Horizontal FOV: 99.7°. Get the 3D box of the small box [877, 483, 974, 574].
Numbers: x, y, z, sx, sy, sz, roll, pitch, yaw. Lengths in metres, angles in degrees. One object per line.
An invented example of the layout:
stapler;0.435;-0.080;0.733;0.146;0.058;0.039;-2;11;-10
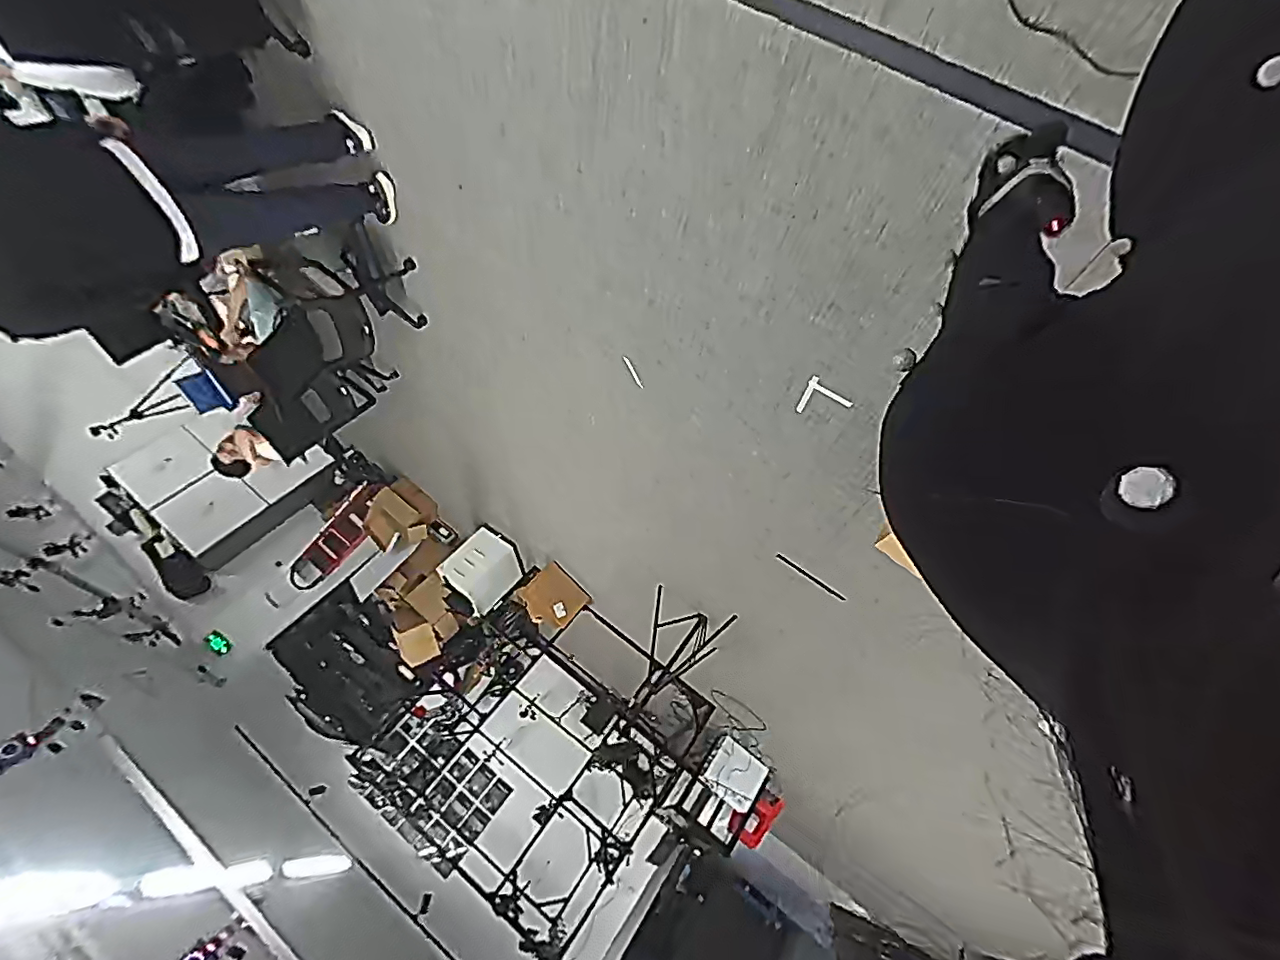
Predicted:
small box;0.853;0.144;1.613;0.168;0.176;0.179;36;151;11
